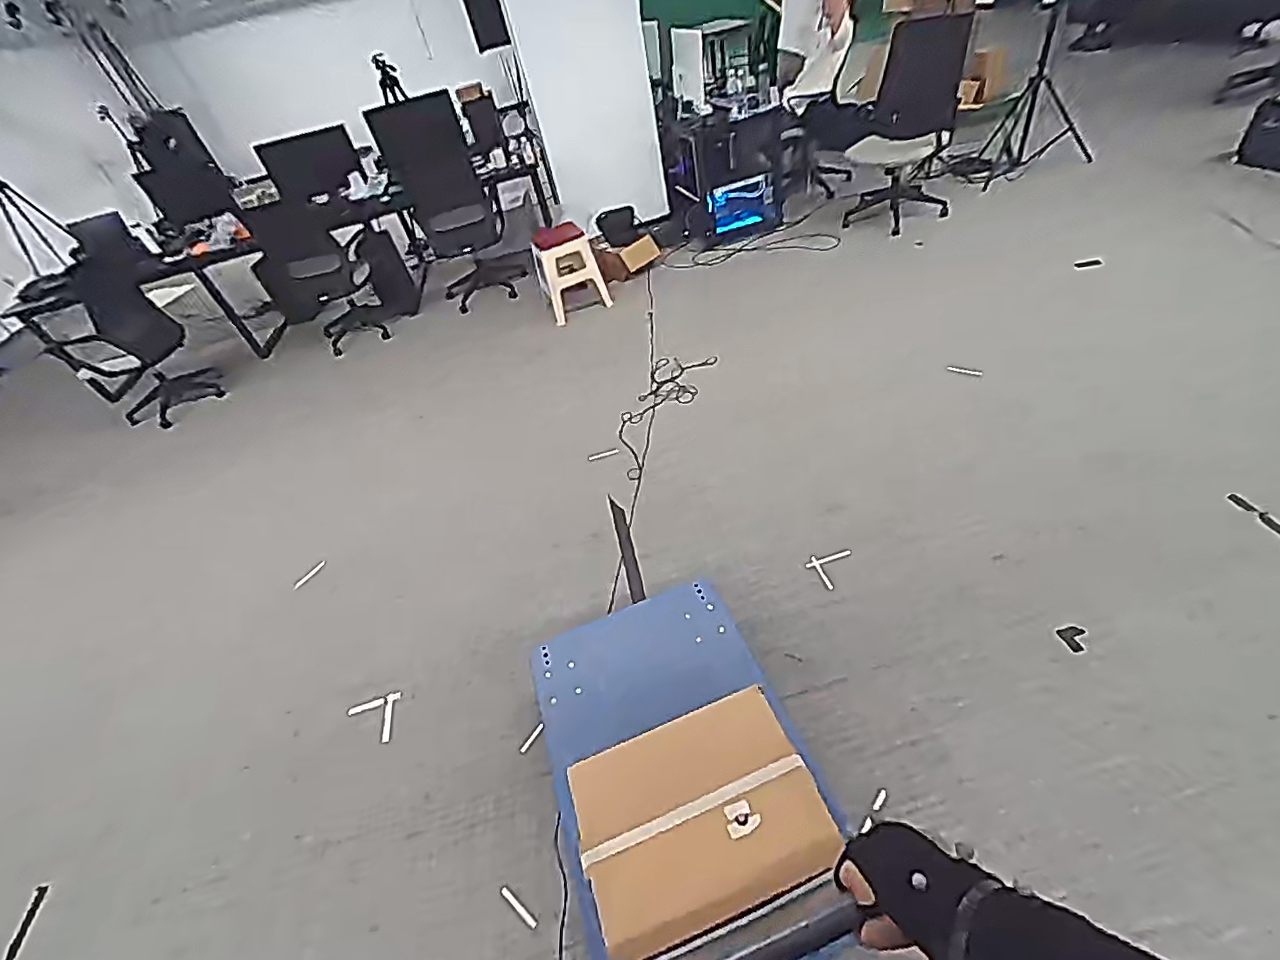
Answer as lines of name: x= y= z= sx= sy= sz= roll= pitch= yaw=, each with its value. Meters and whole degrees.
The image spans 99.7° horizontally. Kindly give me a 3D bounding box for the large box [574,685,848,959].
large box: x=0.131 y=0.680 z=1.046 sx=0.408 sy=0.320 sz=0.320 roll=-21 pitch=43 yaw=-7
